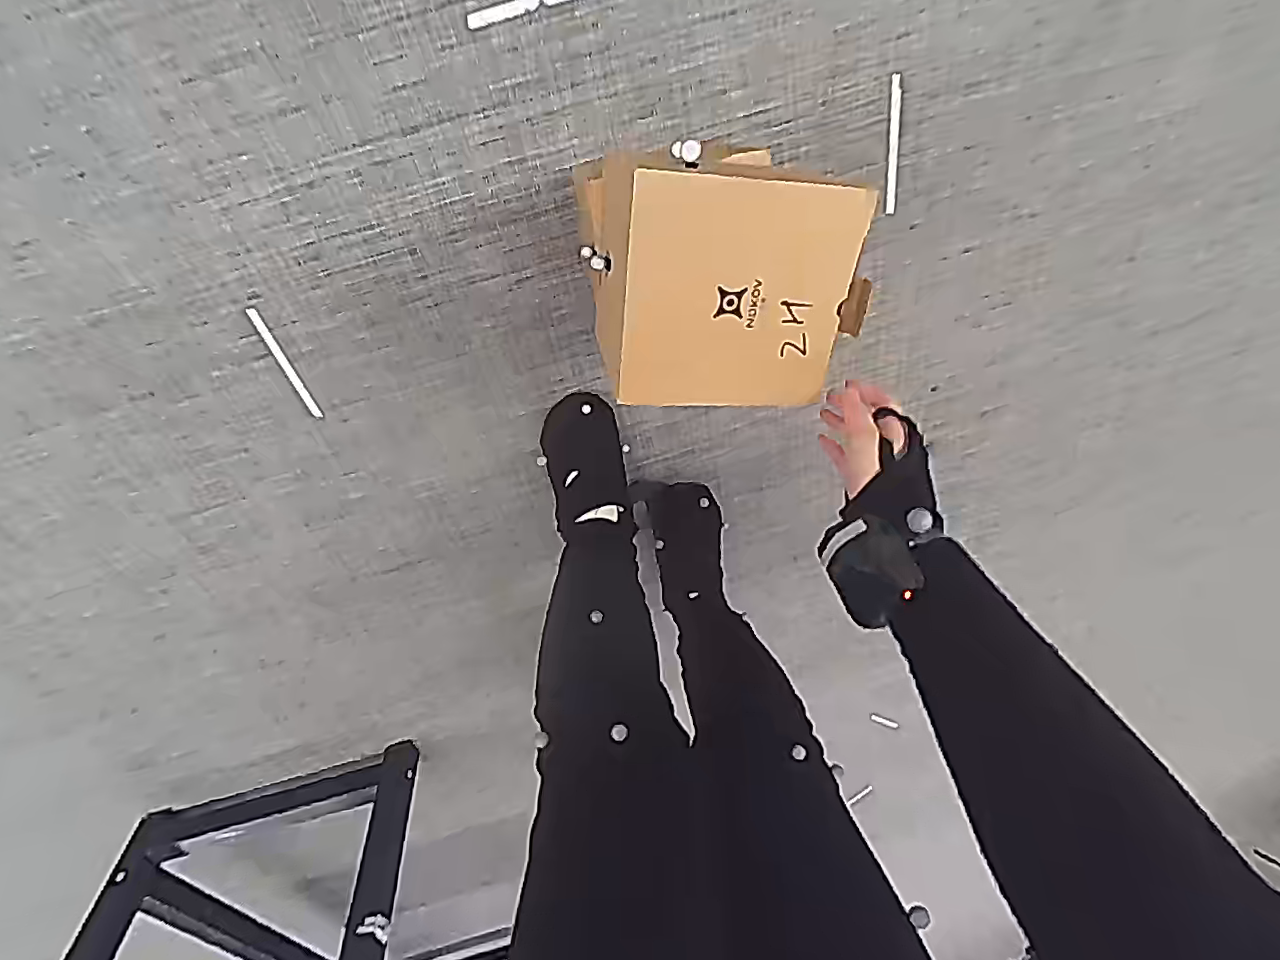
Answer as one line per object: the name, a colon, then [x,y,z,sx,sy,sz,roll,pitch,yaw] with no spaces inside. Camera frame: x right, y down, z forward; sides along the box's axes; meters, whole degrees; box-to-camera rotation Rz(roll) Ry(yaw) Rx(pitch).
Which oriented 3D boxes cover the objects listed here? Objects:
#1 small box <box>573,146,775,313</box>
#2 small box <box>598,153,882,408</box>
small box: [0.032,-0.261,0.597,0.179,0.176,0.168,-12,125,-5]
small box: [0.060,-0.172,0.459,0.179,0.176,0.168,-1,124,-11]
